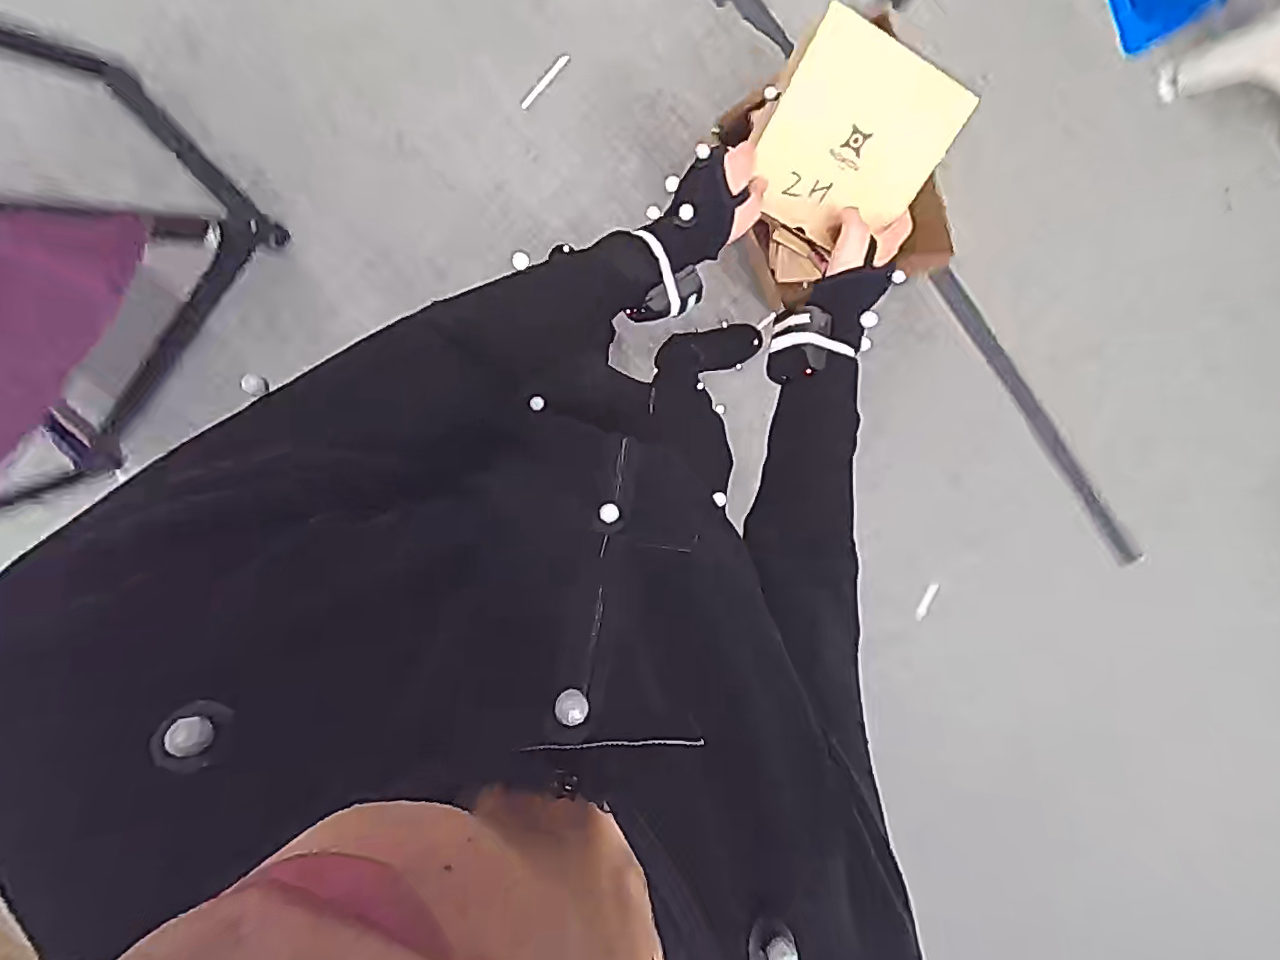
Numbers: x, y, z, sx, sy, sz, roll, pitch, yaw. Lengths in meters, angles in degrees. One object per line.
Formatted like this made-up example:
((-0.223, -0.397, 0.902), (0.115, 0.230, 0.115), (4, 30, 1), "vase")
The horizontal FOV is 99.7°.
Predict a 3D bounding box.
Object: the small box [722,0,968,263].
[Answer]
((0.199, -0.367, 0.592), (0.168, 0.176, 0.179), (25, 118, -9), "small box")
